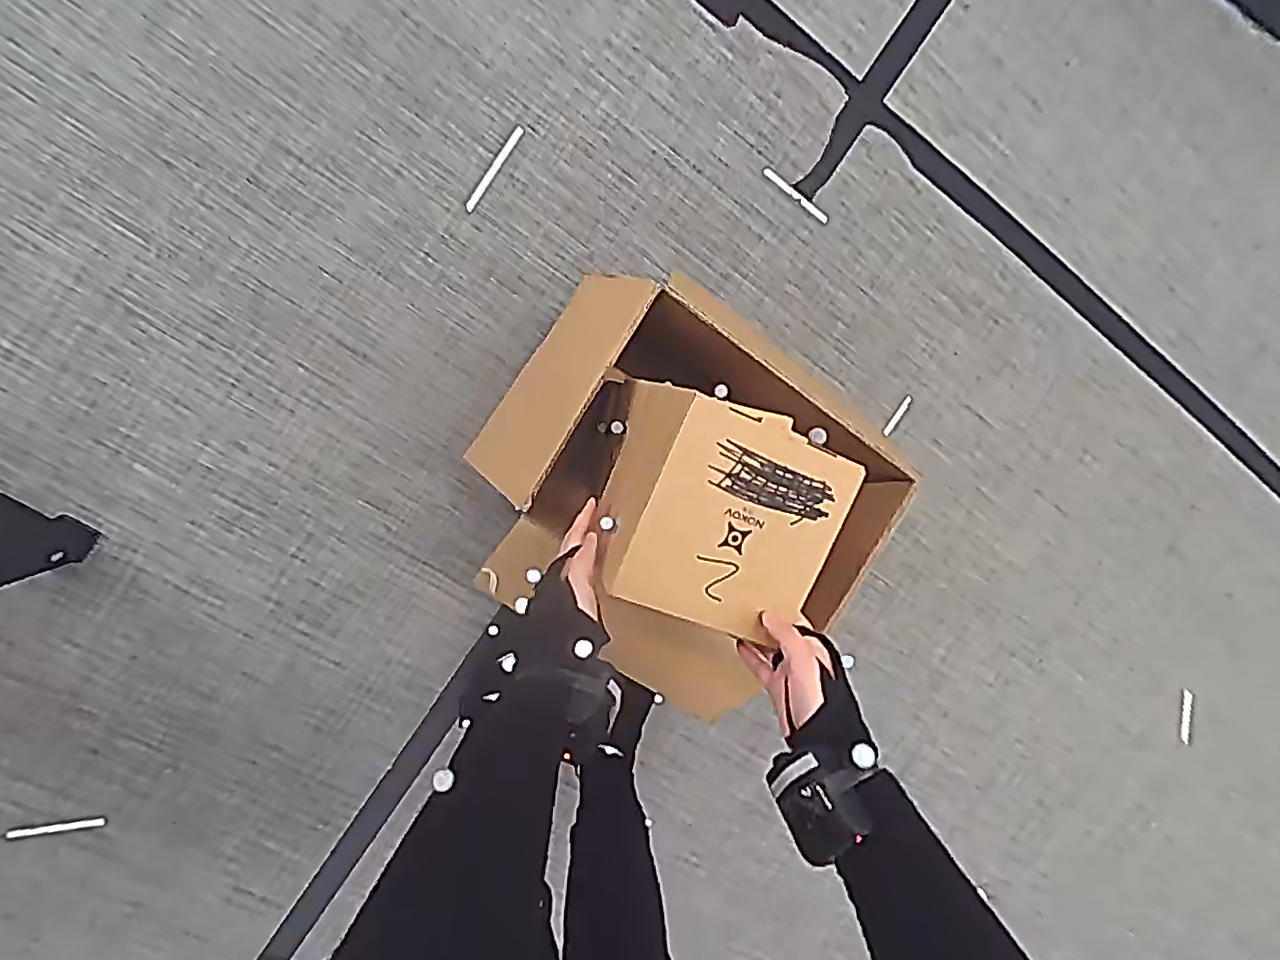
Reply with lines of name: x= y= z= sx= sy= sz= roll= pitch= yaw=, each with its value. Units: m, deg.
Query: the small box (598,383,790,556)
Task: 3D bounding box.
small box: x=0.053 y=-0.021 z=0.674 sx=0.179 sy=0.176 sz=0.168 roll=12 pitch=99 yaw=-13
